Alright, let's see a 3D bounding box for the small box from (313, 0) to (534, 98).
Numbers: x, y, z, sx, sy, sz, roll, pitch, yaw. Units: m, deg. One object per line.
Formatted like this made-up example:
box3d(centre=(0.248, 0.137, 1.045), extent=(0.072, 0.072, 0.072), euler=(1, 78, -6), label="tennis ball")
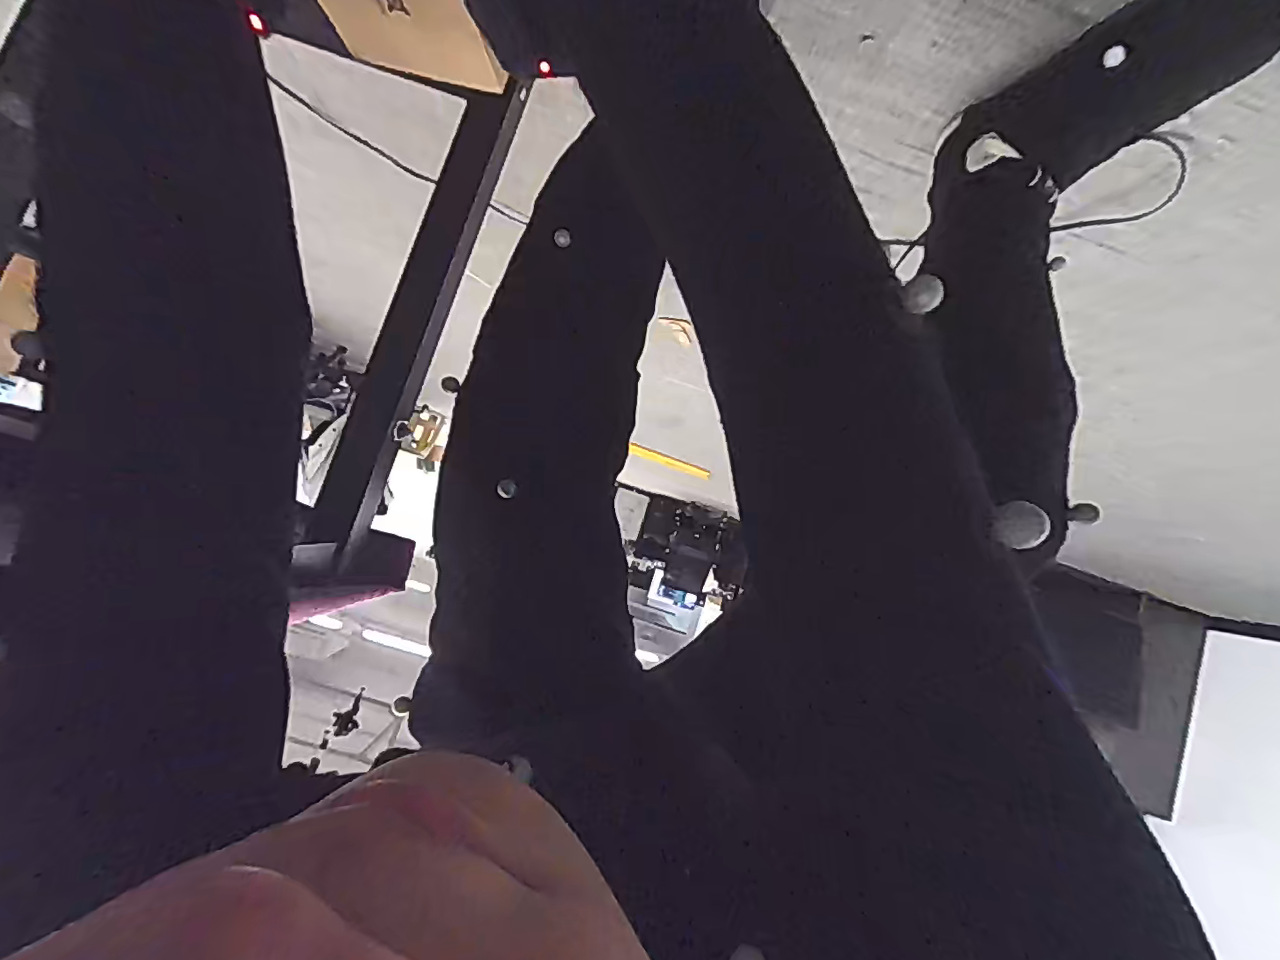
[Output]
box3d(centre=(-0.200, -0.502, 0.490), extent=(0.179, 0.176, 0.168), euler=(17, 173, 5), label="small box")
